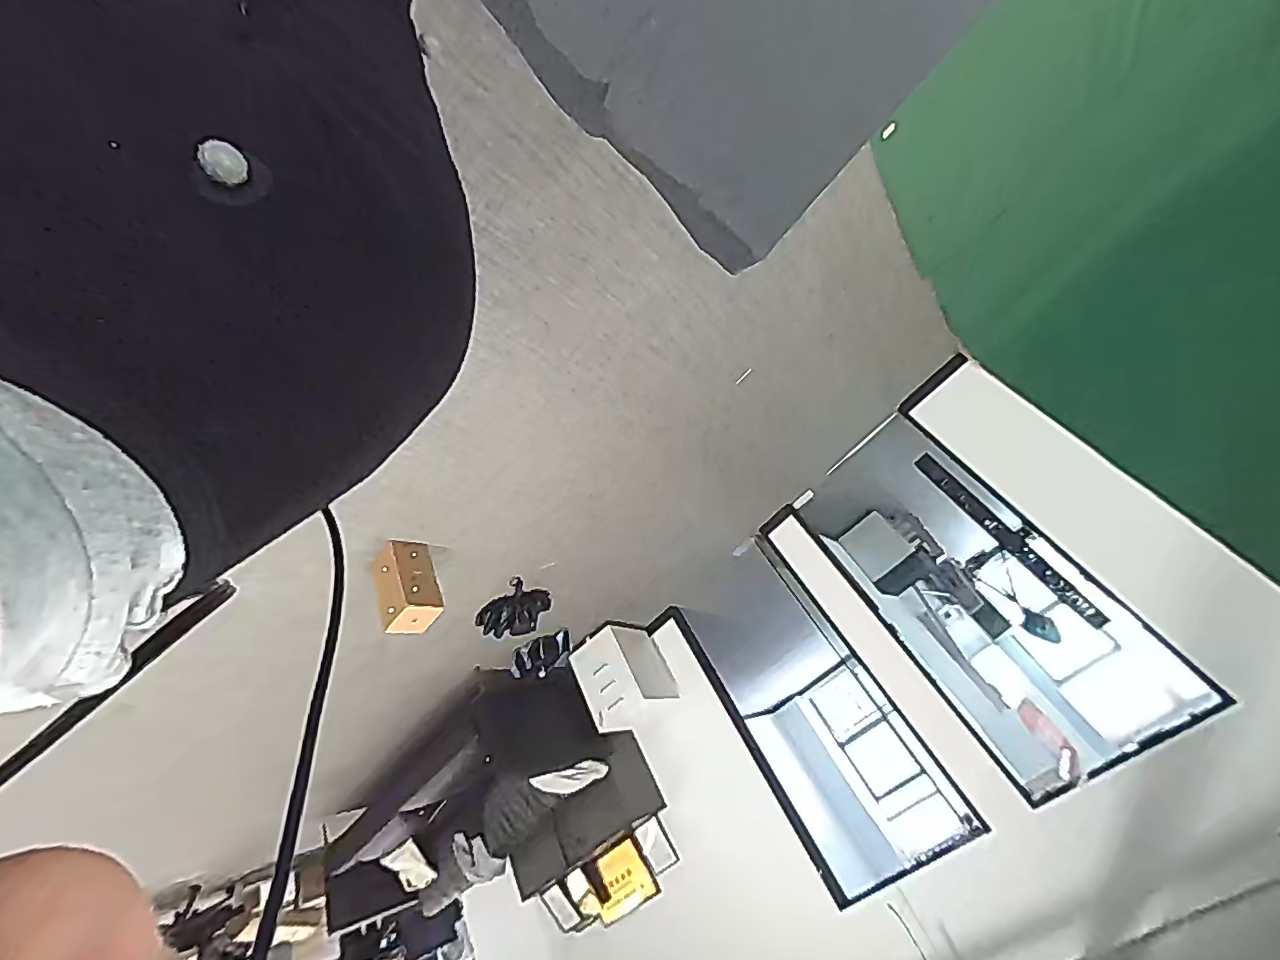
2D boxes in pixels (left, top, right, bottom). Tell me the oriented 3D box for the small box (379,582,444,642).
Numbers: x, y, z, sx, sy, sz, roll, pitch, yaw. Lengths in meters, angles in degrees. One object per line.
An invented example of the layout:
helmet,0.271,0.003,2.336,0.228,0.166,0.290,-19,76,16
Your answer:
small box,-0.913,0.523,2.149,0.179,0.176,0.168,-46,143,20

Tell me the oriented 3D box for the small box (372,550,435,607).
small box,-0.987,0.410,2.239,0.179,0.176,0.168,-48,144,19
